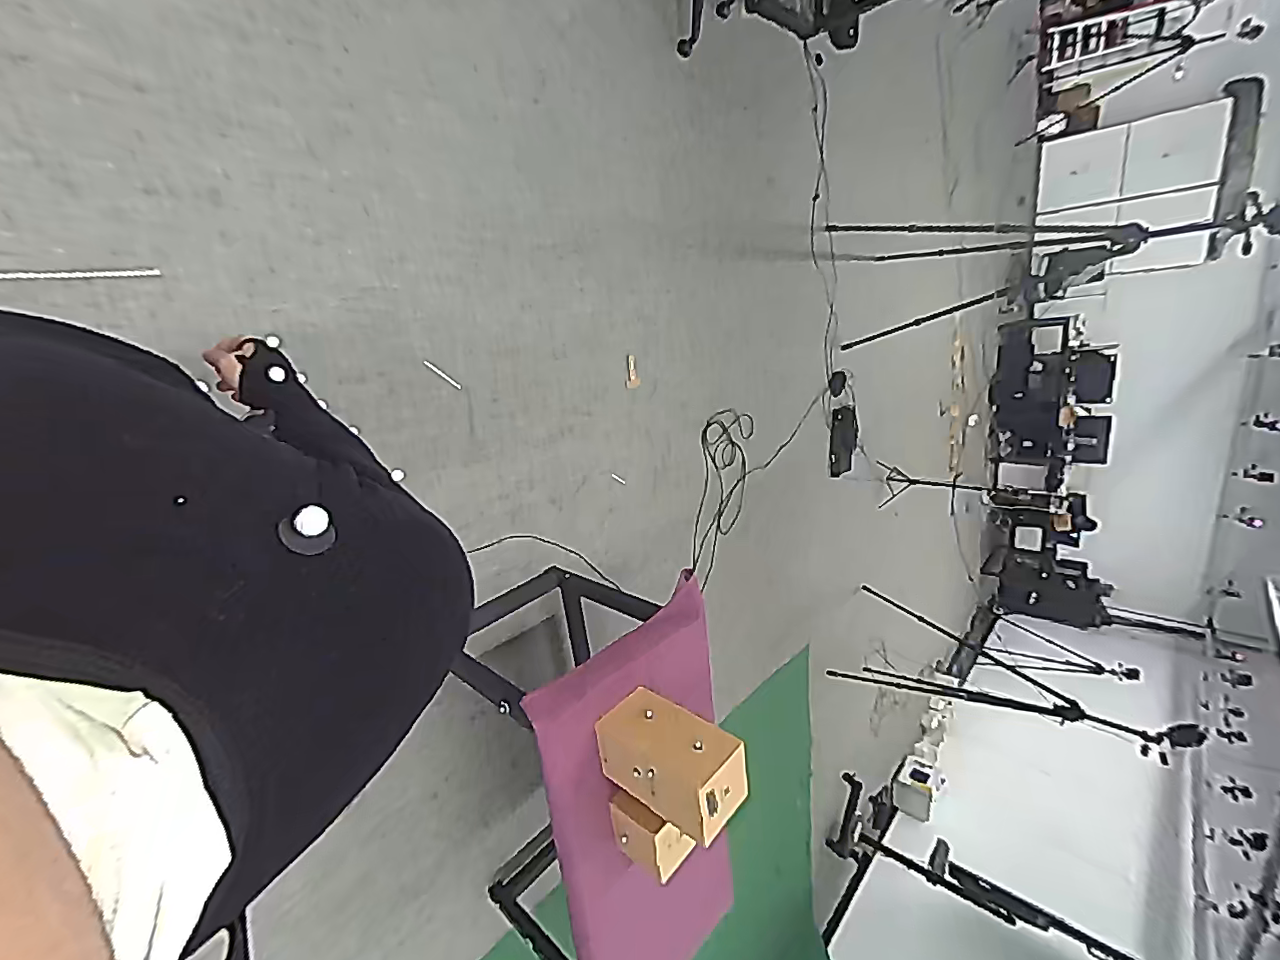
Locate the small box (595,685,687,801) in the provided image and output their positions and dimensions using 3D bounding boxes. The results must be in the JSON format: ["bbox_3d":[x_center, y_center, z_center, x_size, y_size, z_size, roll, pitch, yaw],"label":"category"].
[{"bbox_3d":[0.010,0.662,1.386,0.179,0.176,0.168,-25,114,-43],"label":"small box"}]

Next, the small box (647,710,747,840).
[{"bbox_3d":[0.130,0.683,1.275,0.179,0.176,0.168,-25,115,-43],"label":"small box"}]

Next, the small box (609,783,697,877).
[{"bbox_3d":[0.042,0.900,1.462,0.179,0.176,0.168,-25,114,-42],"label":"small box"}]
